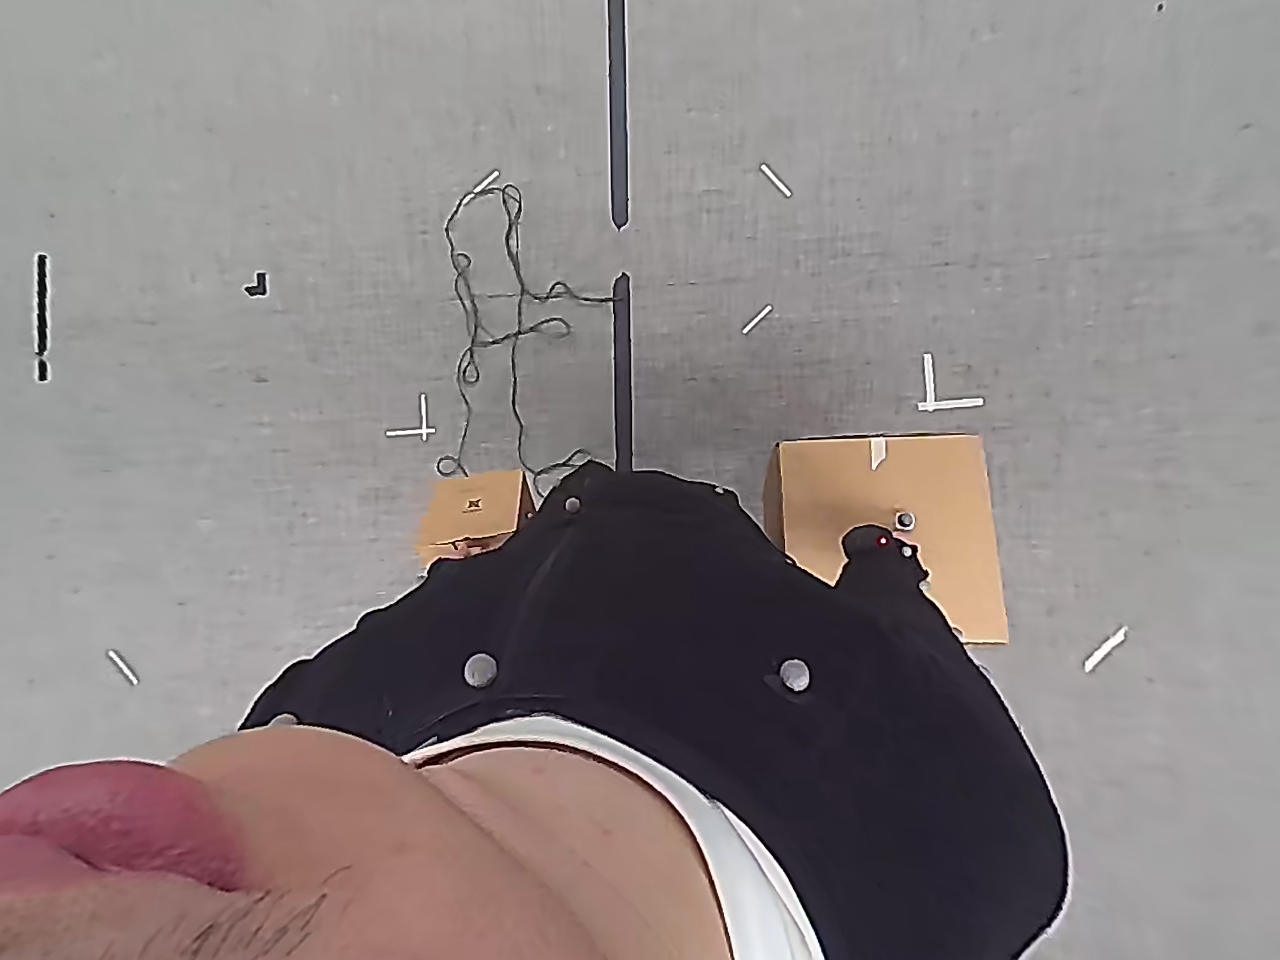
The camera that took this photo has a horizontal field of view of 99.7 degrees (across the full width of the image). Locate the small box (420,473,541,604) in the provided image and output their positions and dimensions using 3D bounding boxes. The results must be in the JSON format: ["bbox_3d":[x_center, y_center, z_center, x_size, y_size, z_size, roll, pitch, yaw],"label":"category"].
[{"bbox_3d":[-0.282,0.113,1.002,0.168,0.179,0.176,-8,127,-1],"label":"small box"}]
